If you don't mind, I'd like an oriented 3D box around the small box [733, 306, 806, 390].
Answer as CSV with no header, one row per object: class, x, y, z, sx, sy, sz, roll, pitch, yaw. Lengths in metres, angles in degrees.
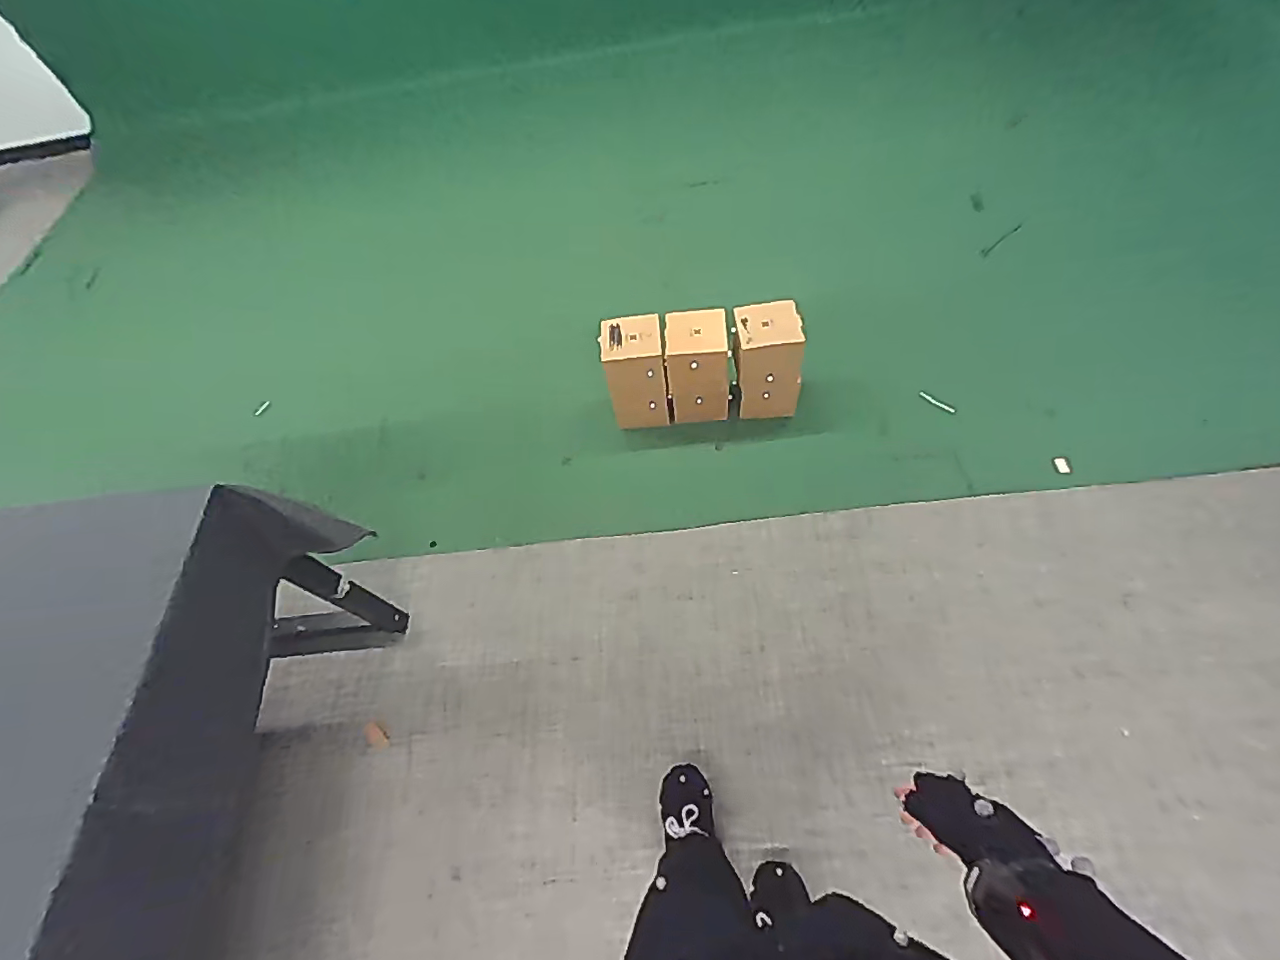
small box,0.374,-0.385,1.593,0.179,0.176,0.168,-6,58,4
